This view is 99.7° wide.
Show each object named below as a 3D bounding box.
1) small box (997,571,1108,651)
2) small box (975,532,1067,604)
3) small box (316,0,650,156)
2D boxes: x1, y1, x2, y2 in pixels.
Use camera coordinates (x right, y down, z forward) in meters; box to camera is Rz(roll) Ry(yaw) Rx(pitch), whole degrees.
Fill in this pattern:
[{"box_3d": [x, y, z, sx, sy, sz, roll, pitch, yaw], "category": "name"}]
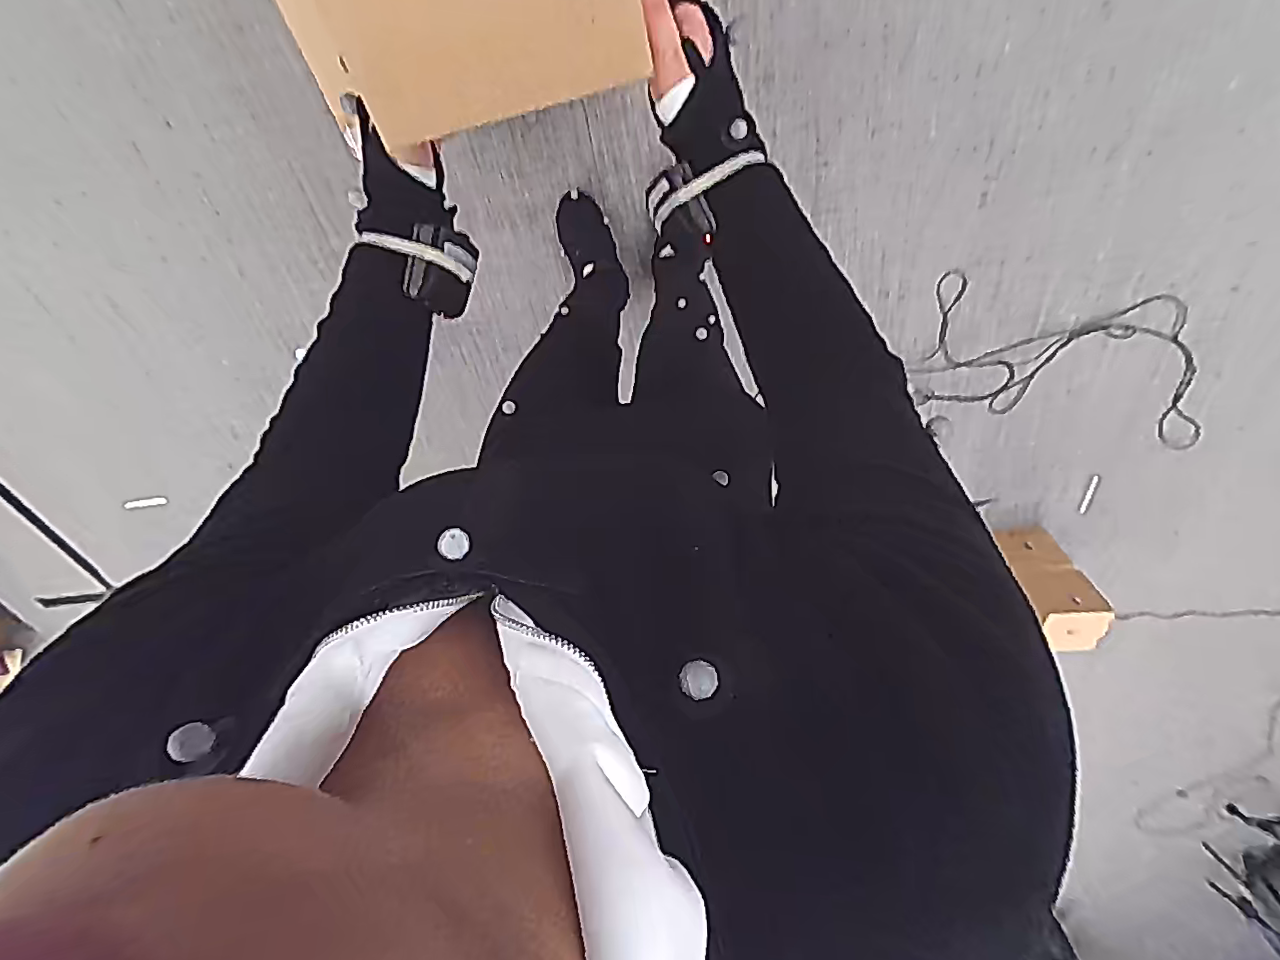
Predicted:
[{"box_3d": [1.194, 0.380, 1.580, 0.179, 0.176, 0.168, -3, 125, 5], "category": "small box"}, {"box_3d": [1.193, 0.280, 1.710, 0.168, 0.176, 0.179, -7, 125, 6], "category": "small box"}, {"box_3d": [-0.091, -0.322, 0.318, 0.168, 0.176, 0.179, -11, 130, 6], "category": "small box"}]
